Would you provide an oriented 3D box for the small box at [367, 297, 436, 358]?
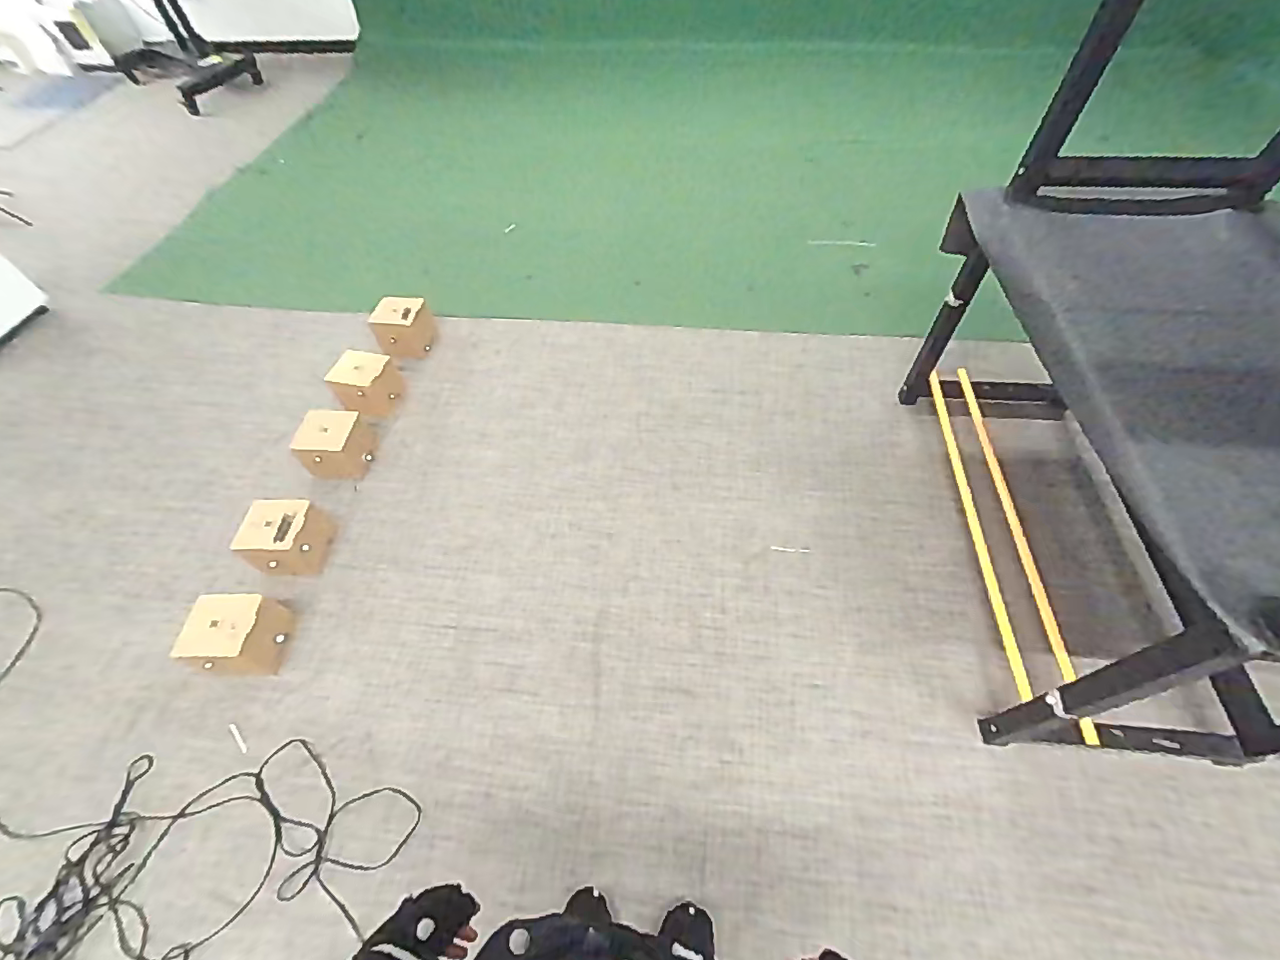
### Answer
[{"bbox_3d":[-0.940,-0.603,2.153,0.179,0.176,0.168,5,55,6],"label":"small box"}]

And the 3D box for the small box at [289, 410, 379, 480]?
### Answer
[{"bbox_3d":[-1.014,-0.114,1.807,0.179,0.176,0.168,3,56,2],"label":"small box"}]

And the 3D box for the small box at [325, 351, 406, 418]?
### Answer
[{"bbox_3d":[-0.994,-0.346,1.972,0.179,0.176,0.168,10,55,8],"label":"small box"}]

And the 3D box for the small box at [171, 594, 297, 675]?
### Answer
[{"bbox_3d":[-1.063,0.413,1.435,0.179,0.176,0.168,-1,56,1],"label":"small box"}]
